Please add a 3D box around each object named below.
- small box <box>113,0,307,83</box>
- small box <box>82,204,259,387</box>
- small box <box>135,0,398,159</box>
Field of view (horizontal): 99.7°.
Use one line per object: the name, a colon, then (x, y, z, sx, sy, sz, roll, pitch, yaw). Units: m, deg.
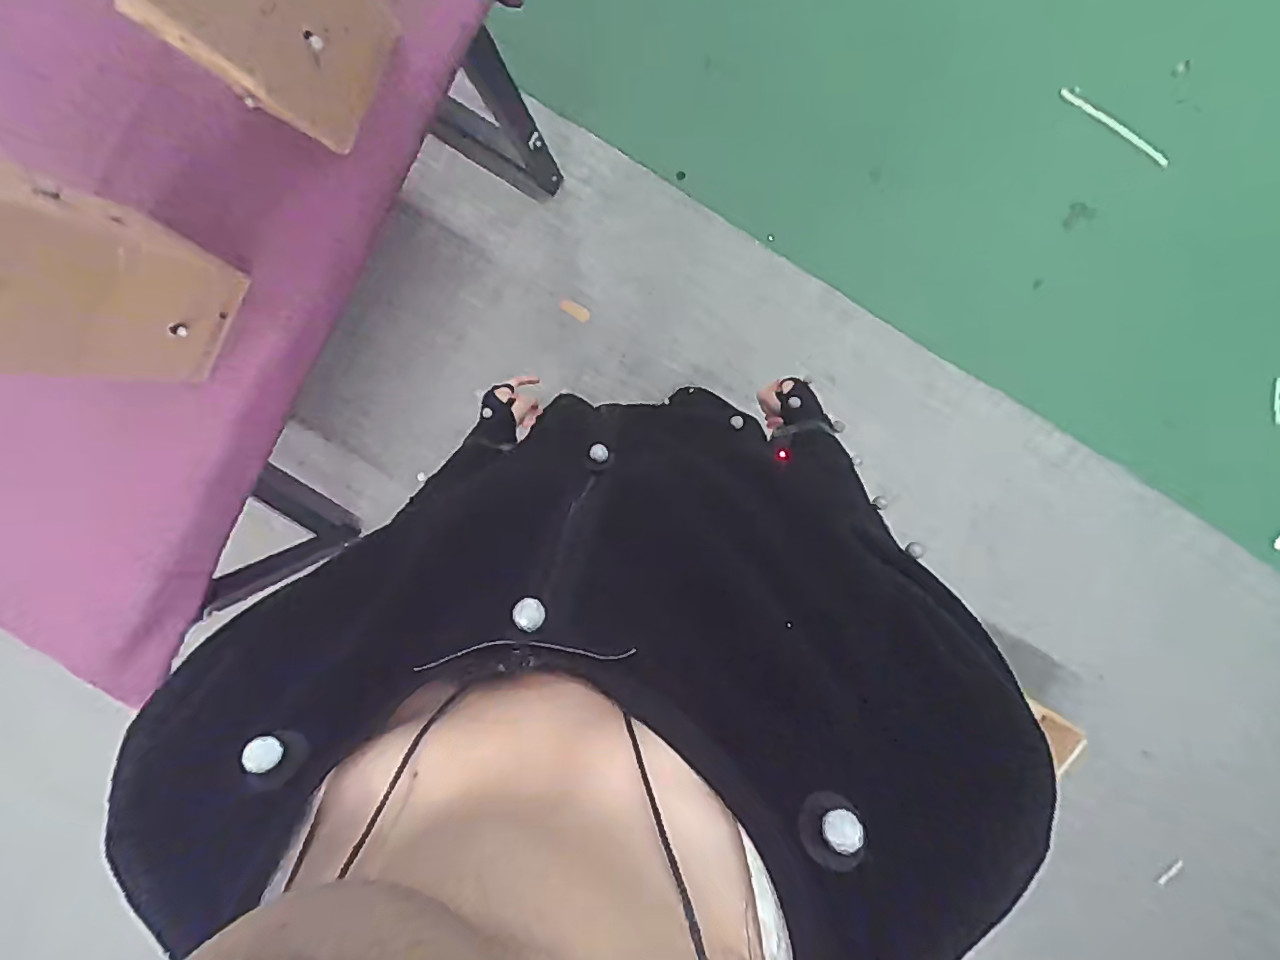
small box: (-0.431, -0.504, 0.476, 0.179, 0.176, 0.168, 31, 102, -1)
small box: (-0.652, -0.235, 0.703, 0.179, 0.176, 0.168, 32, 100, 0)
small box: (-0.419, -0.529, 0.638, 0.168, 0.176, 0.179, 30, 102, -2)
